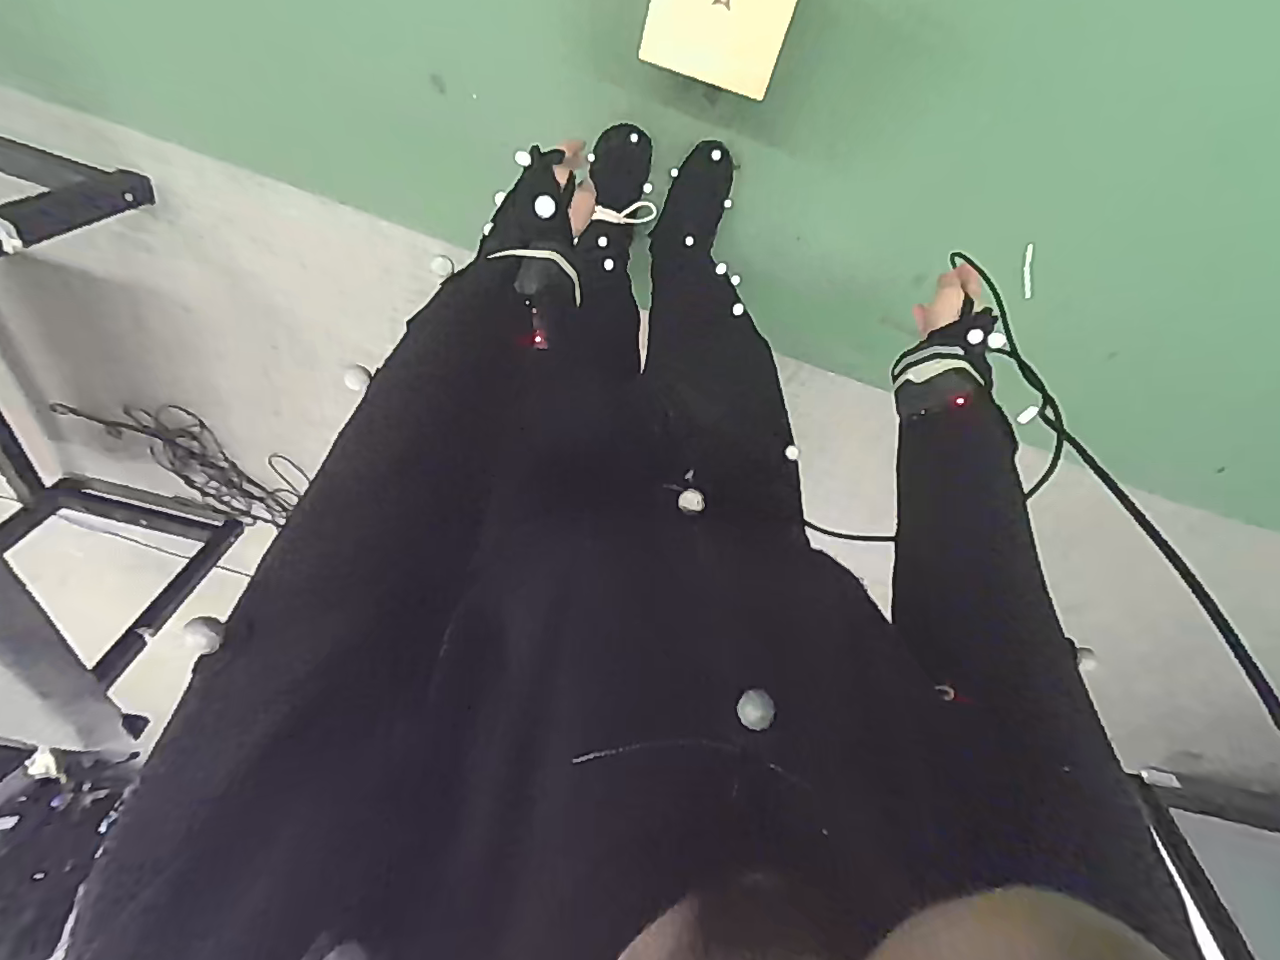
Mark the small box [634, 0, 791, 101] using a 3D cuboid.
[{"bbox_3d":[0.100,-0.612,0.677,0.168,0.176,0.179,15,131,-6],"label":"small box"}]
